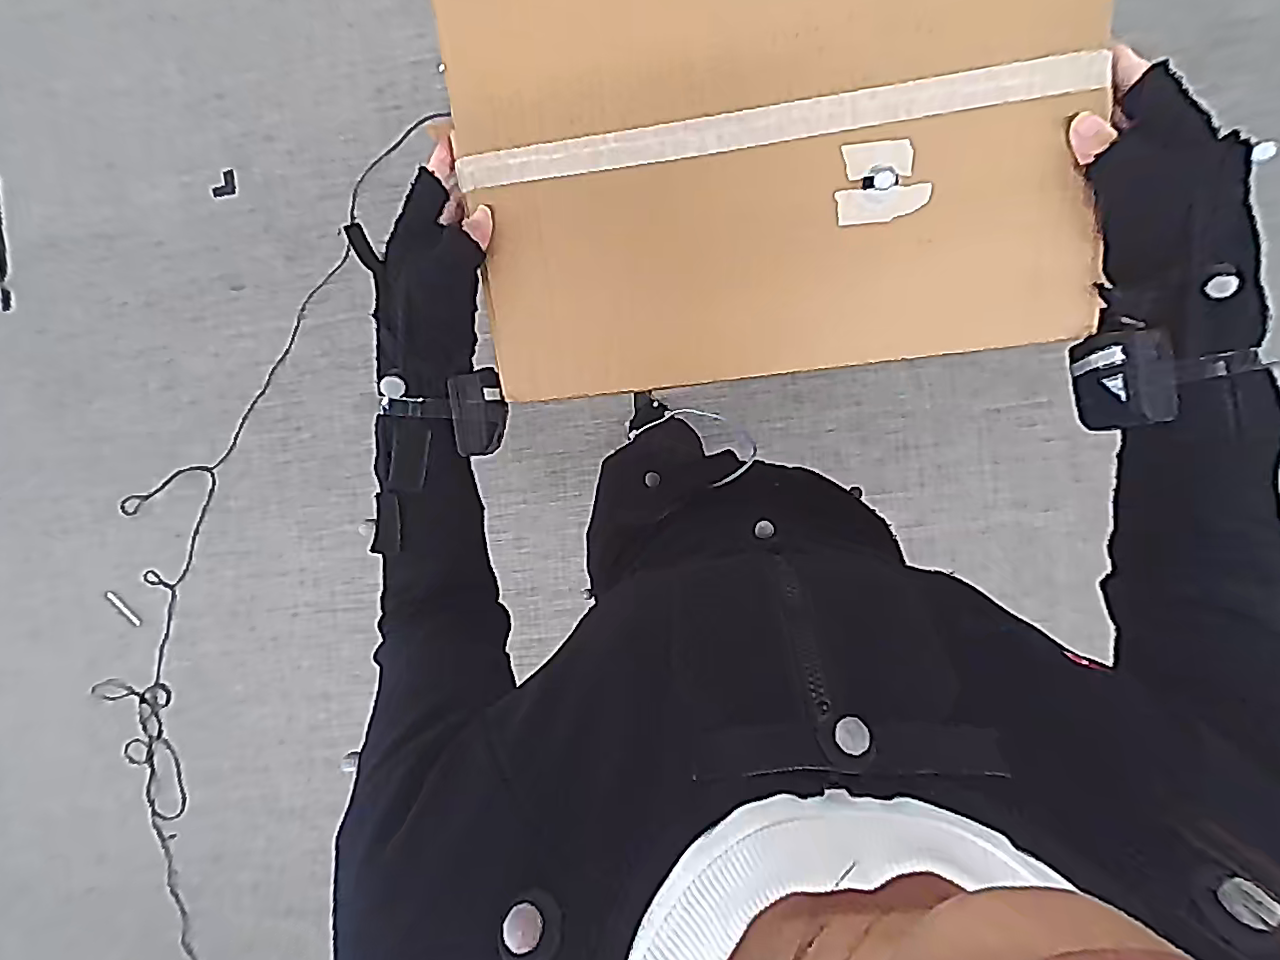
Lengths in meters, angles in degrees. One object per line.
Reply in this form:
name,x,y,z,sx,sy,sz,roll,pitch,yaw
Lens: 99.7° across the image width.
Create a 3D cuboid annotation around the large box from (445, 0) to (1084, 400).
large box,0.090,-0.263,0.506,0.408,0.320,0.320,-6,102,4
